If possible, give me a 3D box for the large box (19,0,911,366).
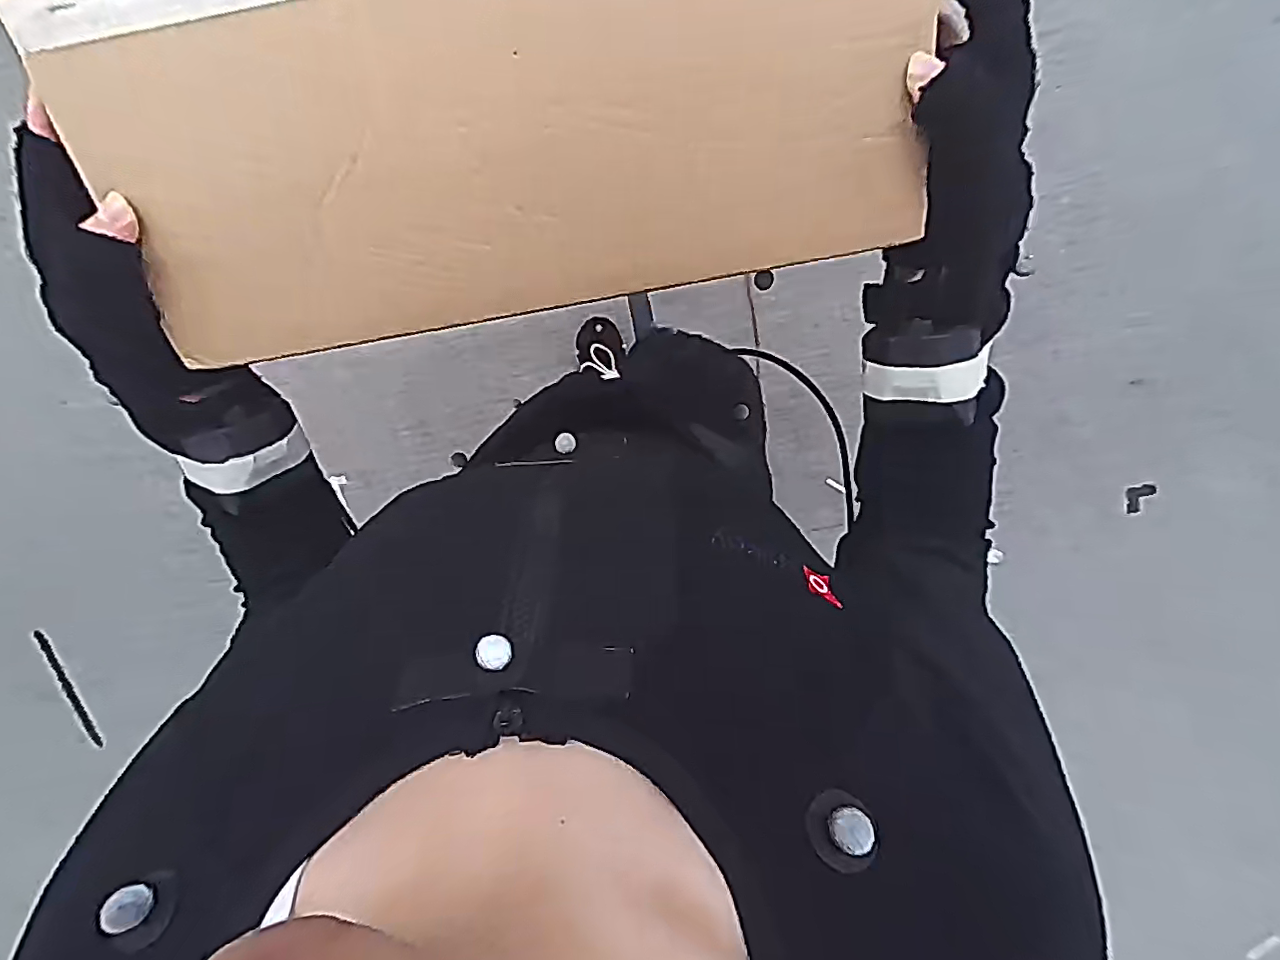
[{"bbox_3d":[-0.080,-0.298,0.372,0.408,0.320,0.320,-9,114,4],"label":"large box"}]
